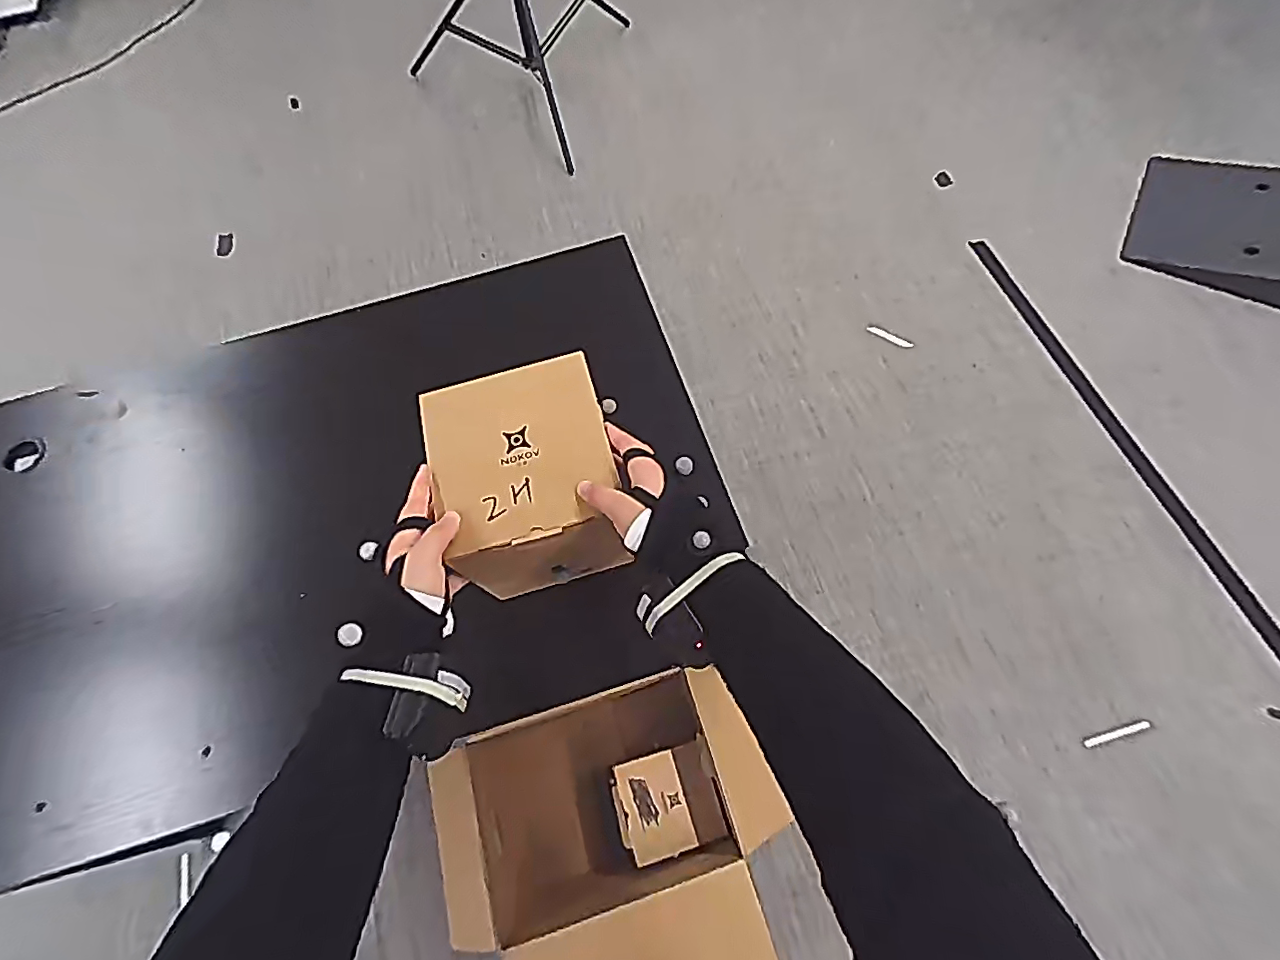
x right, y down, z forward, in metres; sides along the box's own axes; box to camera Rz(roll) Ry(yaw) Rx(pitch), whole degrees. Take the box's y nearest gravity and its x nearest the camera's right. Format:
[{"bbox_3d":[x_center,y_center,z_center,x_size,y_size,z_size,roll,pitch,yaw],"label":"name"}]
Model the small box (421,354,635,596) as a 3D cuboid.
[{"bbox_3d":[-0.108,0.003,0.564,0.168,0.176,0.179,-16,67,-2],"label":"small box"}]
